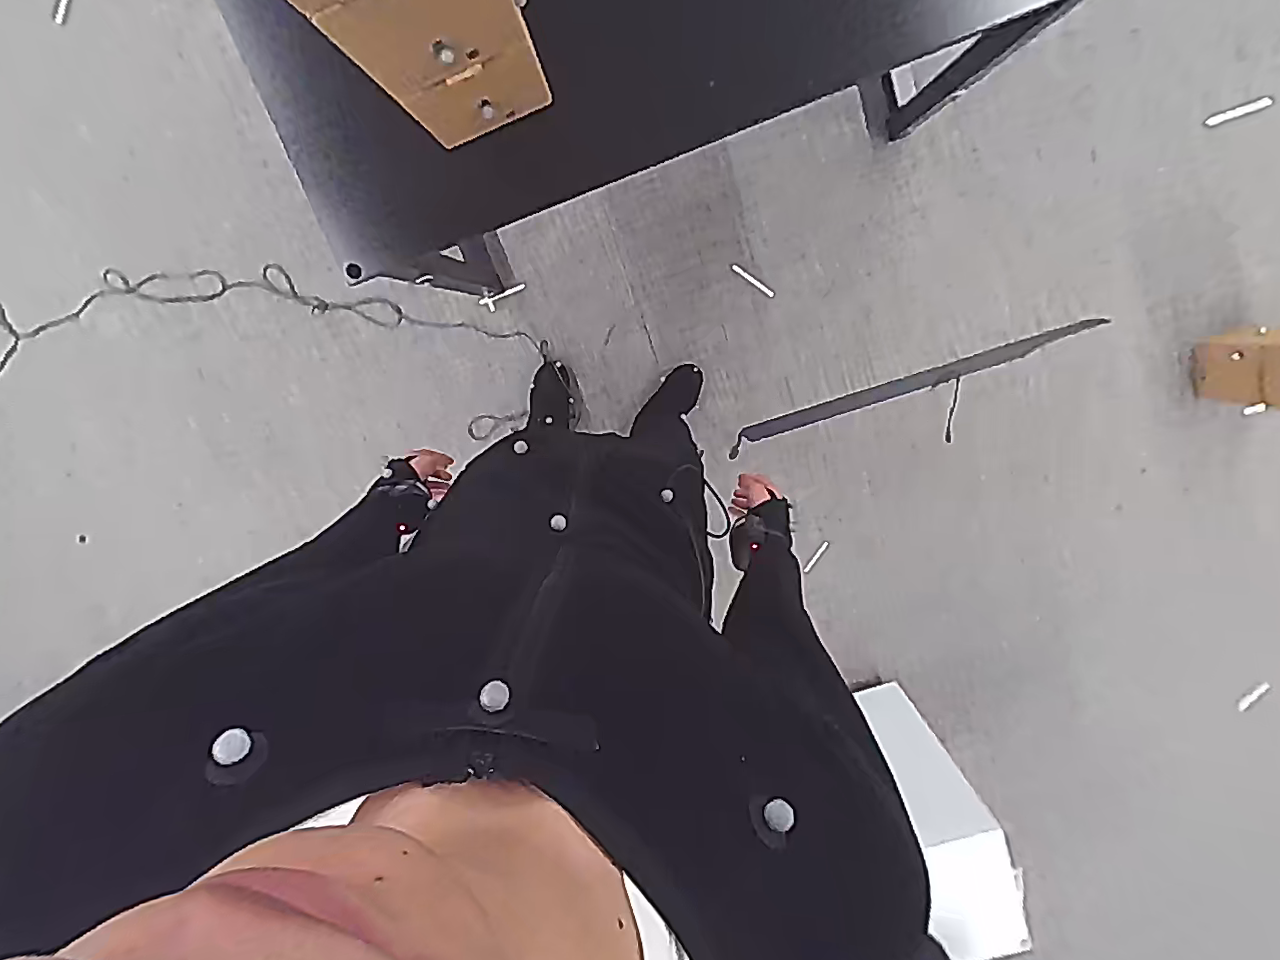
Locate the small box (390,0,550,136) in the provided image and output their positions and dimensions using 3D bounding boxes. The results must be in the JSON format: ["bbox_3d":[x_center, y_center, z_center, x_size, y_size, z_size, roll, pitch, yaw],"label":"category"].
[{"bbox_3d":[-0.224,-0.550,0.654,0.168,0.176,0.179,-20,104,6],"label":"small box"}]

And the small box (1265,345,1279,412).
[{"bbox_3d":[1.664,-0.254,1.289,0.168,0.176,0.179,-18,105,5],"label":"small box"}]

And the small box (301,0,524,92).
[{"bbox_3d":[-0.226,-0.509,0.494,0.168,0.176,0.179,-19,104,6],"label":"small box"}]
